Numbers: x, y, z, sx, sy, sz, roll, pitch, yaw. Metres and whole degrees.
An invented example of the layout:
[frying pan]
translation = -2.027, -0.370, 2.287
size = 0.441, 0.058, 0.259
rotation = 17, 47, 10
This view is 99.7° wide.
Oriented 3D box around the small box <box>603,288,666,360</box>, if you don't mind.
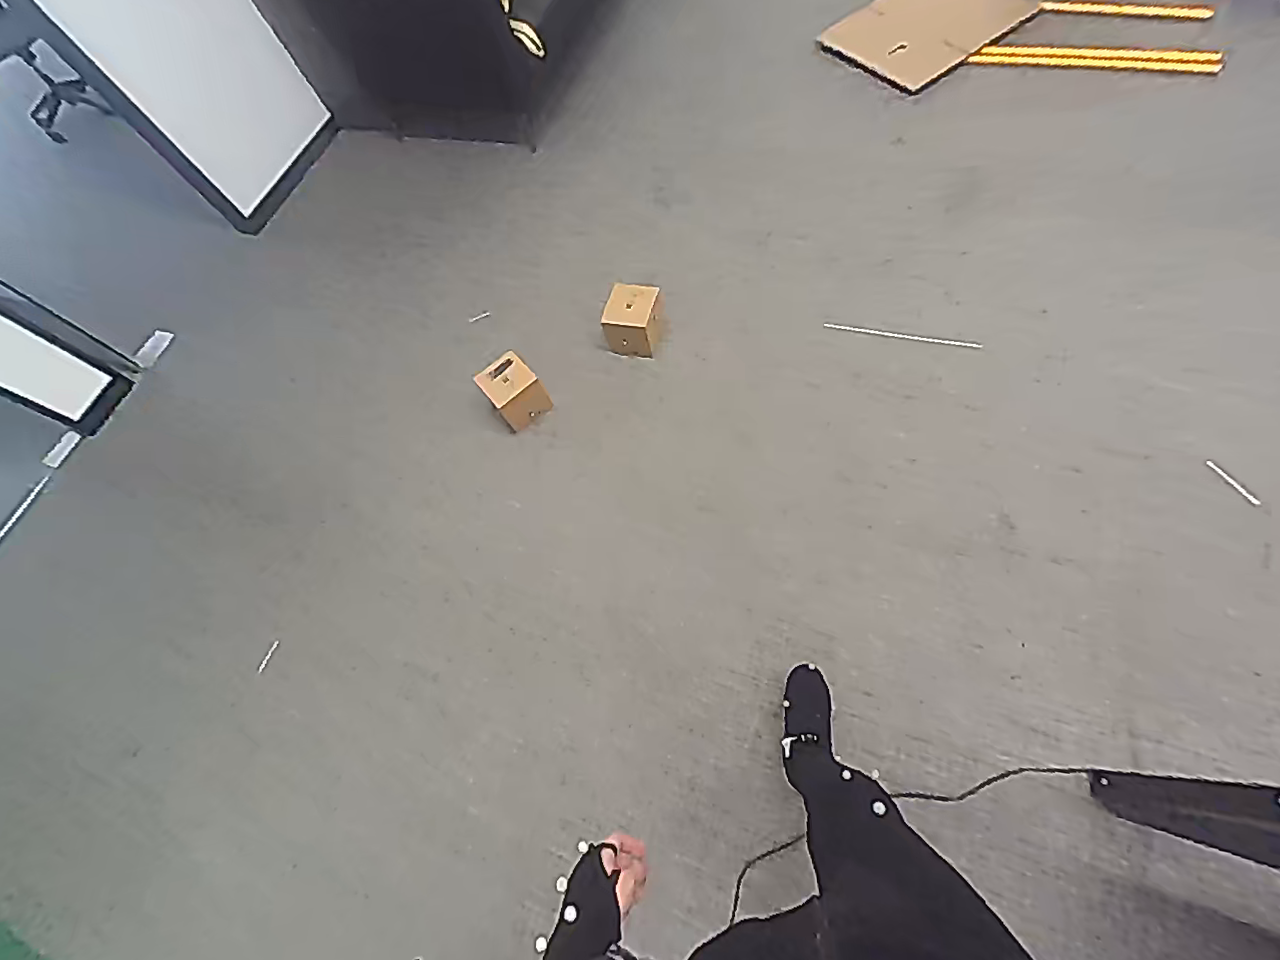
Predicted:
[small box]
translation = -0.013, -0.547, 1.914
size = 0.168, 0.176, 0.179
rotation = 12, 68, 16
